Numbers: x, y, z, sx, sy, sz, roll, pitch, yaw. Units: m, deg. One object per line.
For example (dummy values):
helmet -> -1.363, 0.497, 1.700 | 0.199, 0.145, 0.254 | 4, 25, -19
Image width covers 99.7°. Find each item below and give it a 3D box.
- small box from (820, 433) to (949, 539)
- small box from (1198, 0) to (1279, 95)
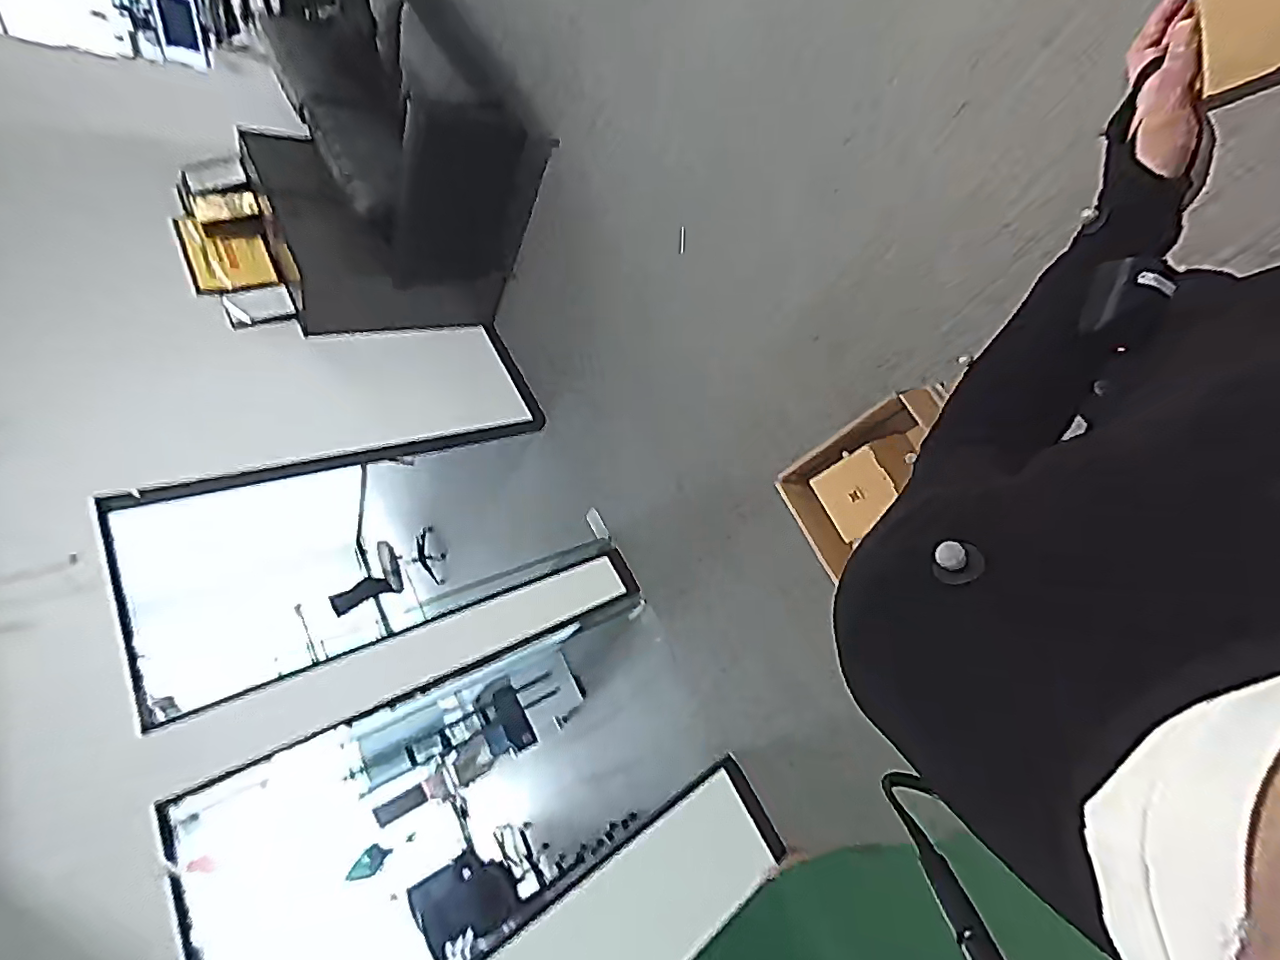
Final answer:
small box -> 0.559, 0.013, 1.237 | 0.179, 0.176, 0.168 | -45, 66, 49
small box -> 0.468, -0.381, 0.339 | 0.168, 0.176, 0.179 | -4, 109, 48
